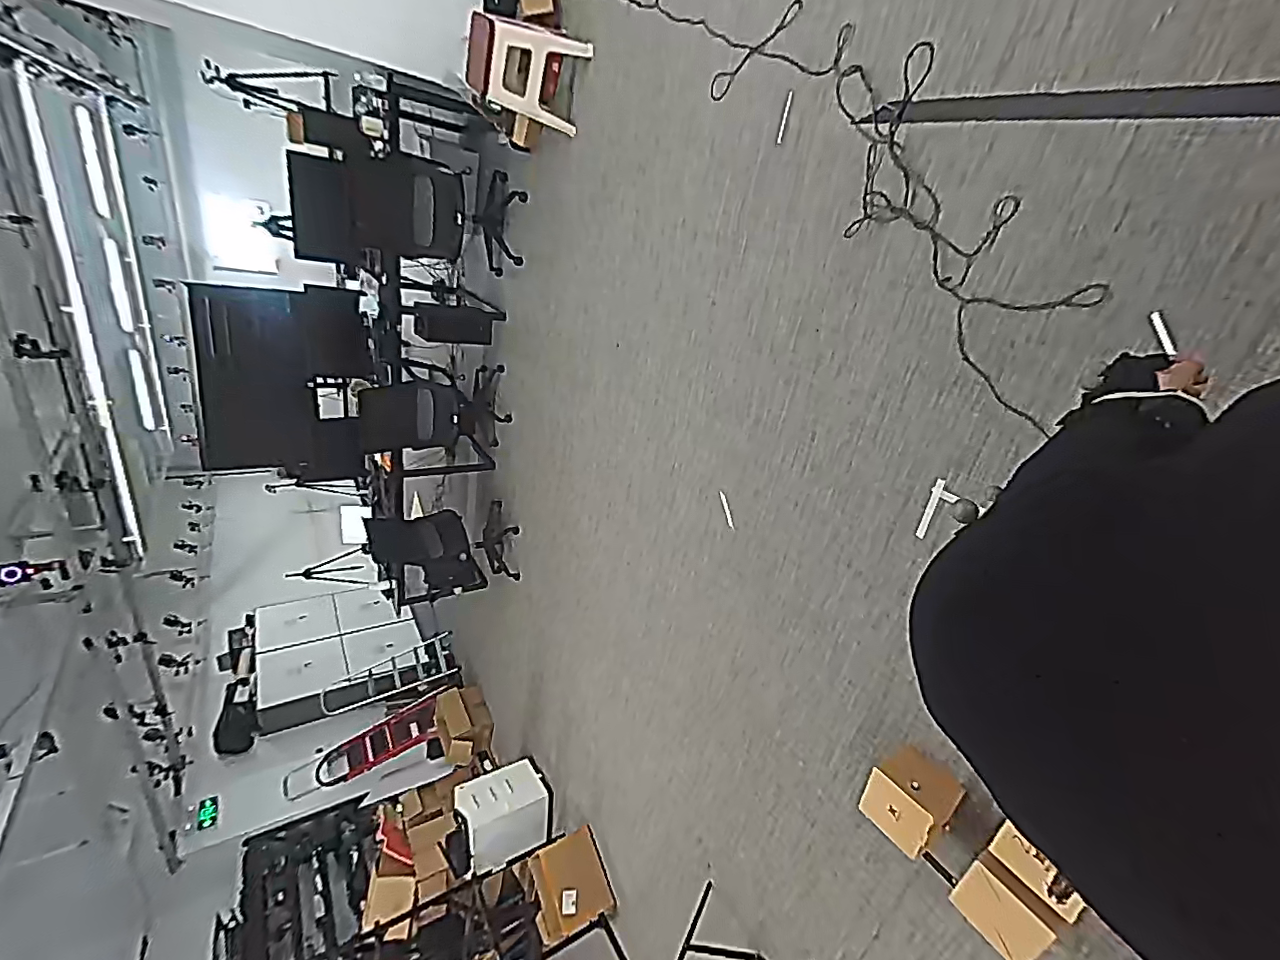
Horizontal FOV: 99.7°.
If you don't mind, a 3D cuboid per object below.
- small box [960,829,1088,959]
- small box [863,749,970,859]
[{"bbox_3d":[0.894,0.986,1.277,0.179,0.176,0.168,40,128,46],"label":"small box"},{"bbox_3d":[0.753,0.871,1.477,0.179,0.176,0.168,34,123,48],"label":"small box"}]
